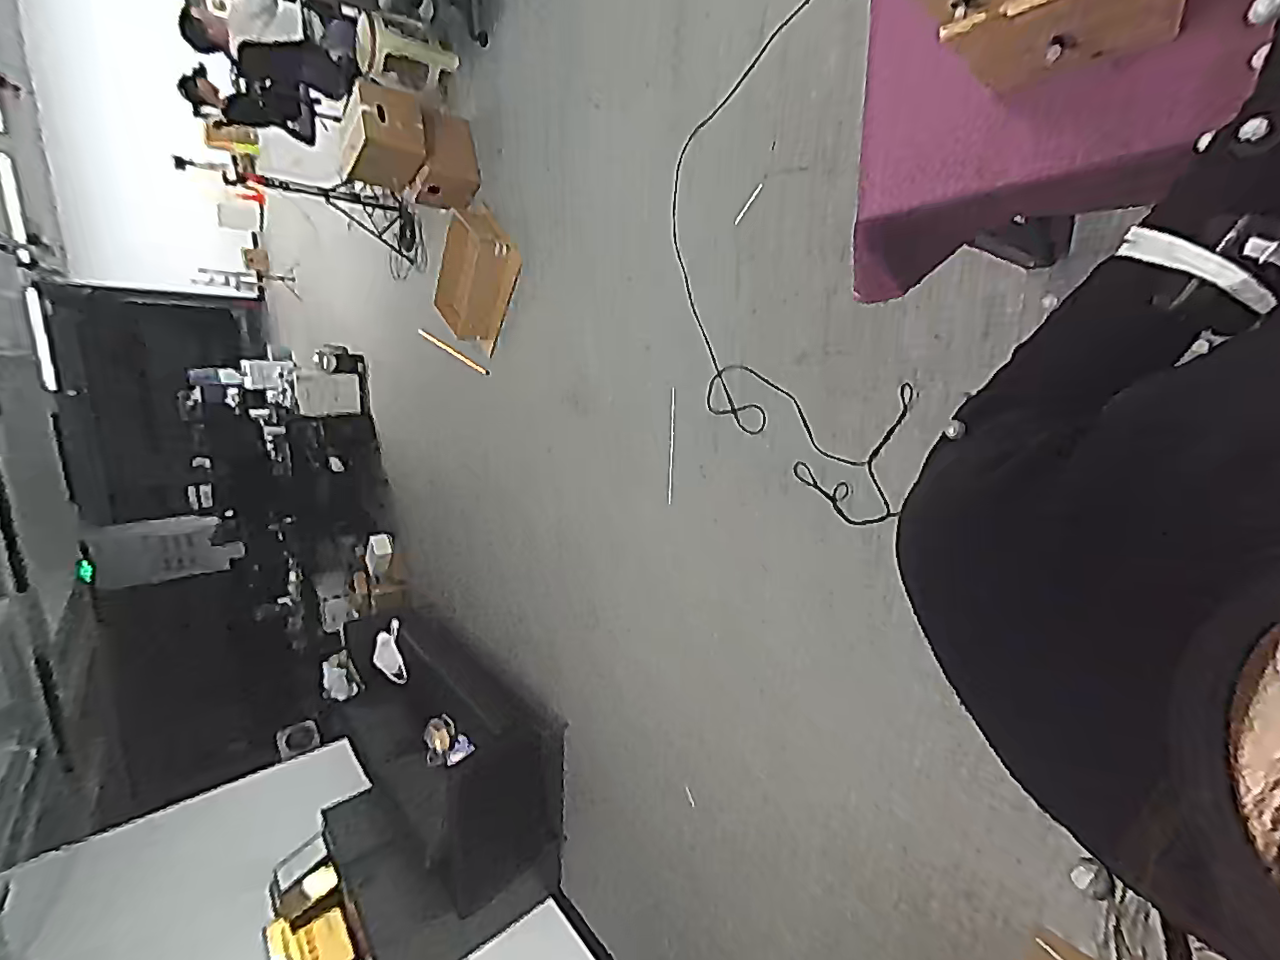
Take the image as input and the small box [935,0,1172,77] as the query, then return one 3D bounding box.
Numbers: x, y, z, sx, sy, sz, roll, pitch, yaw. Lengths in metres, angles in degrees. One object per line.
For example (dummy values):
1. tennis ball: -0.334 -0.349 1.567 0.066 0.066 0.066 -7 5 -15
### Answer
1. small box: 0.419 -0.533 0.530 0.168 0.176 0.179 16 110 45
